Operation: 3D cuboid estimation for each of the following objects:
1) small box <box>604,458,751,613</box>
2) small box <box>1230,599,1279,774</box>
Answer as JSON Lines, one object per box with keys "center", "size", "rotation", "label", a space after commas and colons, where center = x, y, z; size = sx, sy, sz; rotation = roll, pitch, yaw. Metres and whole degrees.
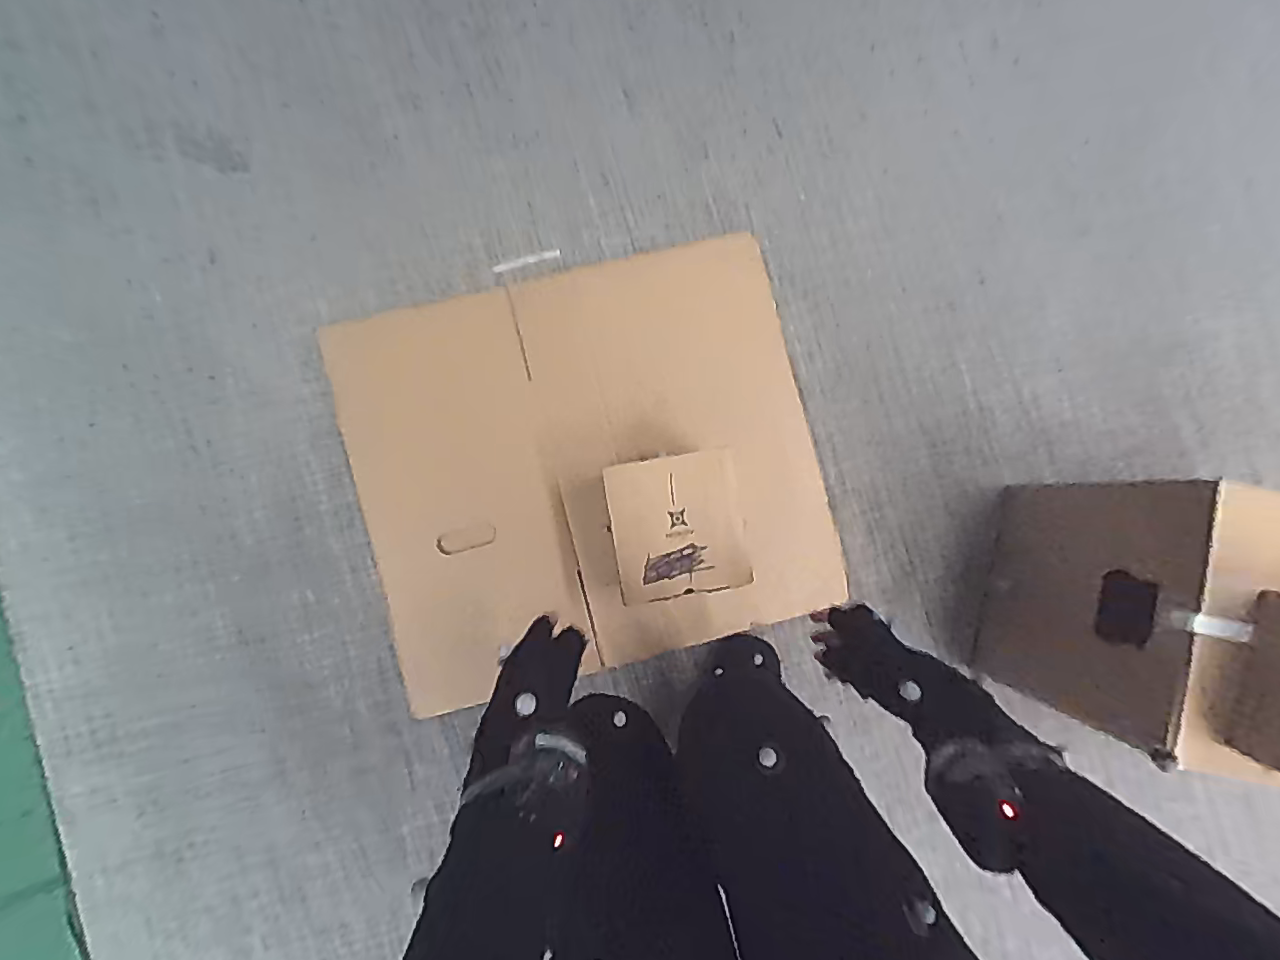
{"center": [0.046, 0.074, 0.757], "size": [0.168, 0.176, 0.179], "rotation": [-9, 86, -3], "label": "small box"}
{"center": [0.709, 0.220, 0.488], "size": [0.168, 0.176, 0.179], "rotation": [15, 89, -1], "label": "small box"}
